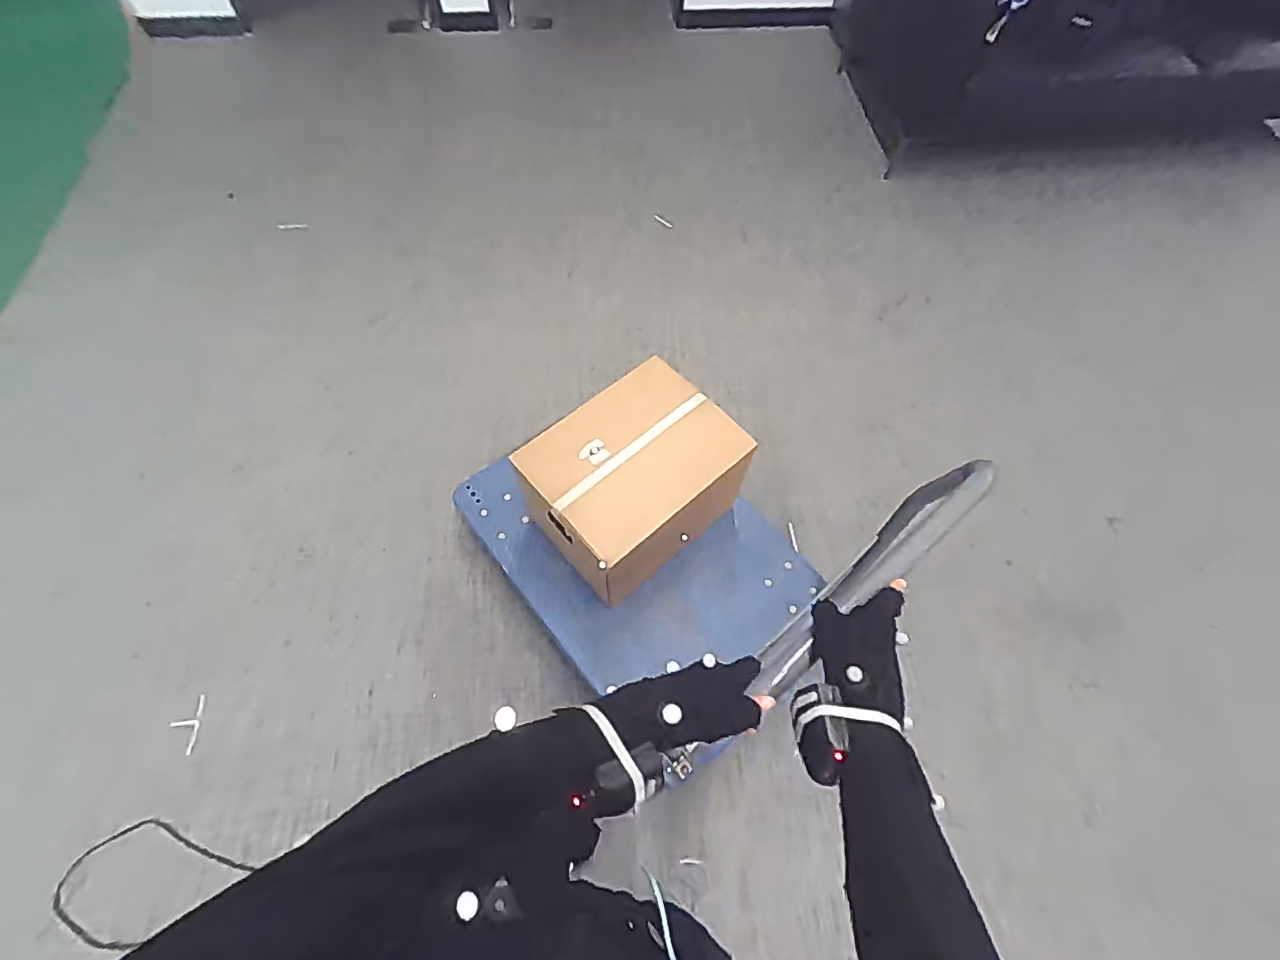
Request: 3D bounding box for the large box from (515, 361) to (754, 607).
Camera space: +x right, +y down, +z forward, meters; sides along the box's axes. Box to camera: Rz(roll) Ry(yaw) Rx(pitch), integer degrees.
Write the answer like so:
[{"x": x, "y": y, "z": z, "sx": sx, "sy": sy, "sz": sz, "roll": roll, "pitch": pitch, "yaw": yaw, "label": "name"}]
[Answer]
[{"x": -0.008, "y": 0.016, "z": 1.229, "sx": 0.408, "sy": 0.320, "sz": 0.320, "roll": -39, "pitch": 69, "yaw": -18, "label": "large box"}]
